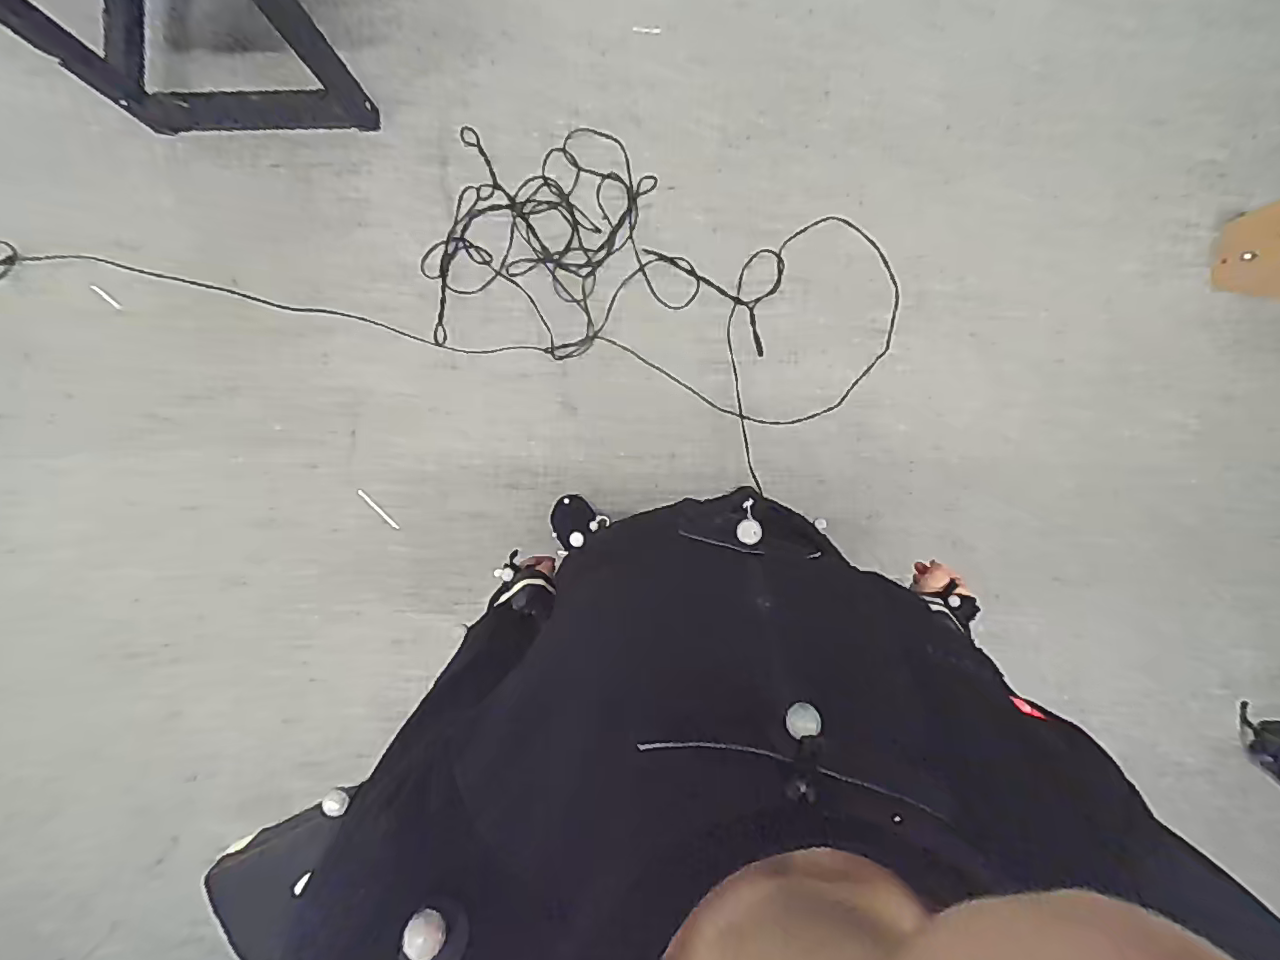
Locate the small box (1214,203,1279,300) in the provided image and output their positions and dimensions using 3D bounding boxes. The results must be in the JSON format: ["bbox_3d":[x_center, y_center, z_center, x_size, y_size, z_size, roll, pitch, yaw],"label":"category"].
[{"bbox_3d":[1.514,-0.535,1.259,0.179,0.176,0.168,10,92,0],"label":"small box"}]
